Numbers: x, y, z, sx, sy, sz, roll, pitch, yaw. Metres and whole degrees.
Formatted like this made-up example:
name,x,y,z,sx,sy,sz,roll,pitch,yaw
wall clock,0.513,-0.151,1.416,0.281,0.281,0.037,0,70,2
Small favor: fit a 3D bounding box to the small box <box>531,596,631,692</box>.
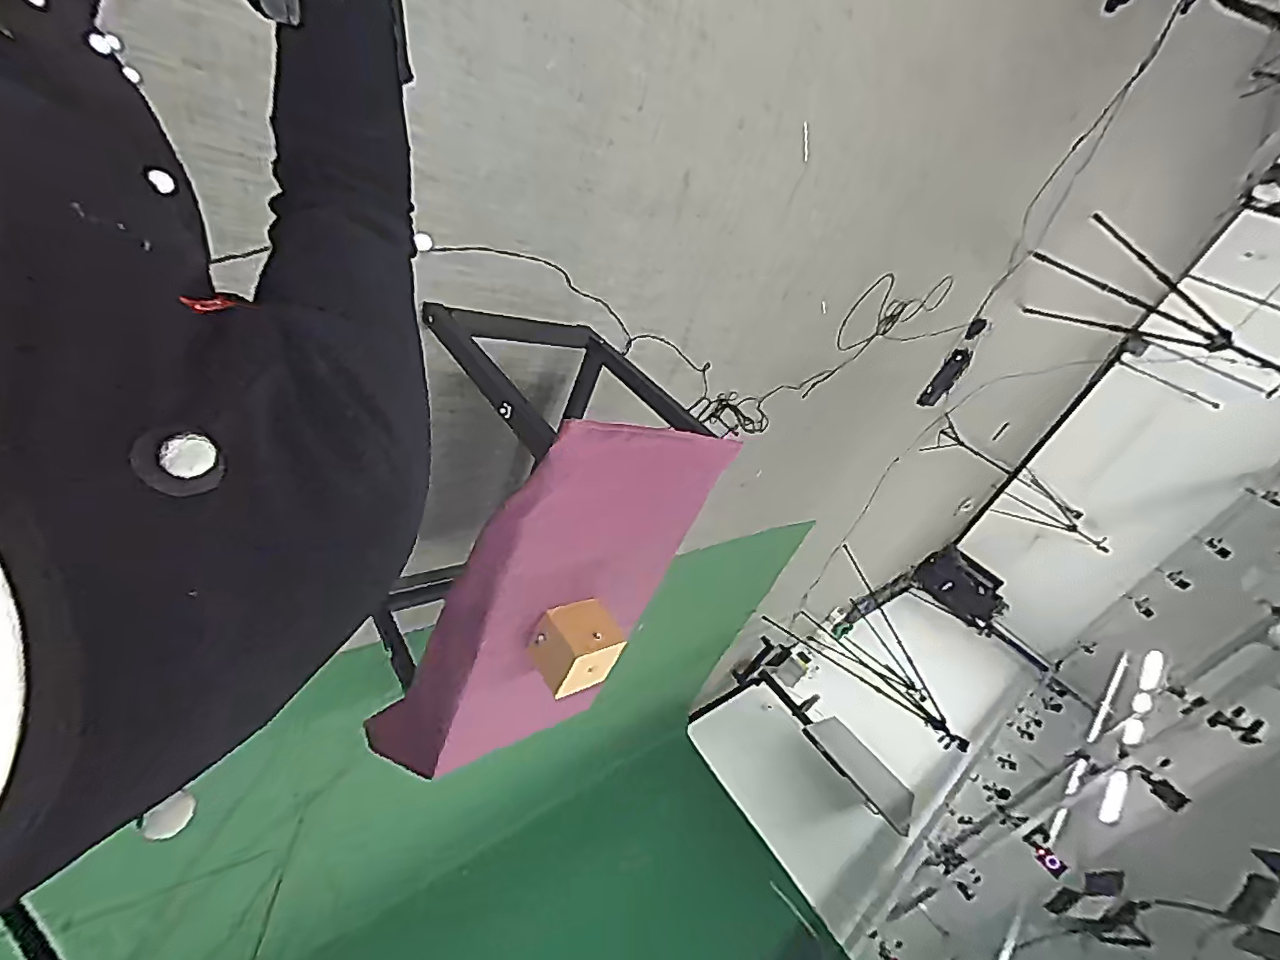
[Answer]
name,x,y,z,sx,sy,sz,roll,pitch,yaw
small box,-0.164,0.436,1.469,0.179,0.176,0.168,-1,128,-46
